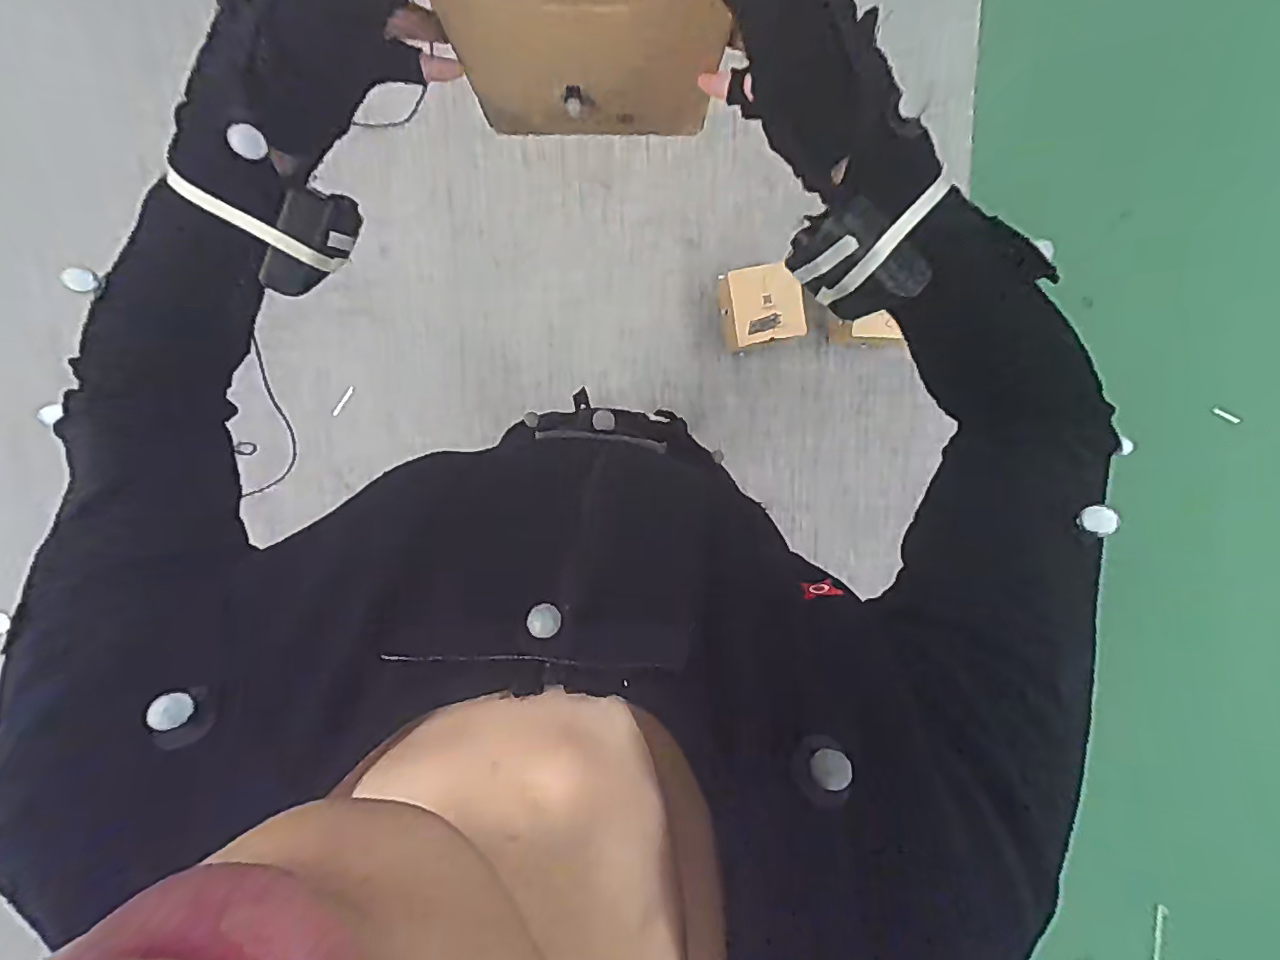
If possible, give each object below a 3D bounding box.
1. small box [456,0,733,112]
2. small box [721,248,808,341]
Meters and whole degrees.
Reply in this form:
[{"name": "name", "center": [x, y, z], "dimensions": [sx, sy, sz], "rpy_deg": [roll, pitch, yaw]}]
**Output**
[{"name": "small box", "center": [-0.031, -0.356, 0.321], "dimensions": [0.168, 0.176, 0.179], "rpy_deg": [-2, 99, 0]}, {"name": "small box", "center": [0.299, -0.442, 1.321], "dimensions": [0.168, 0.176, 0.179], "rpy_deg": [-10, 97, 2]}]
